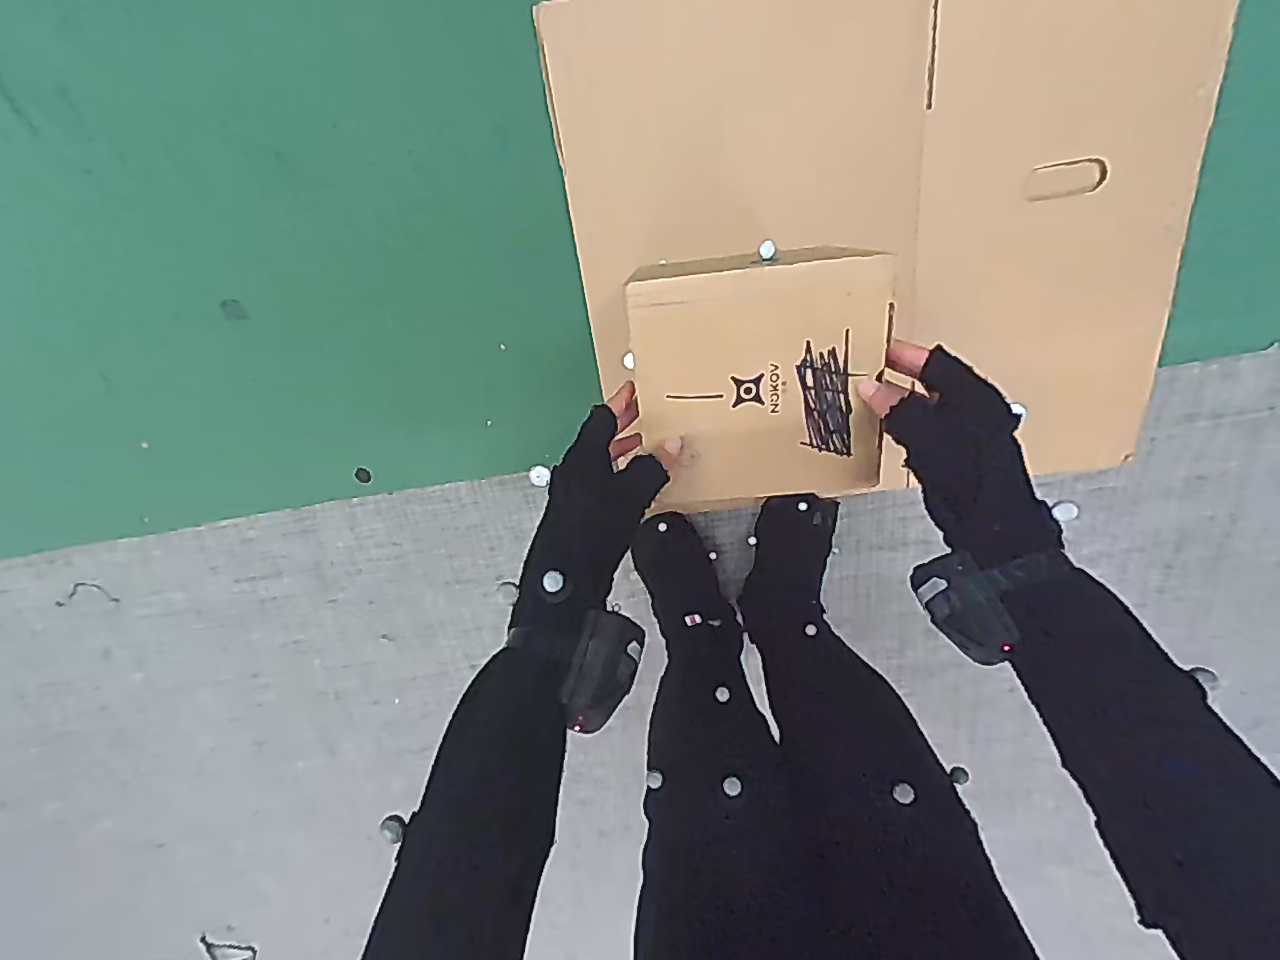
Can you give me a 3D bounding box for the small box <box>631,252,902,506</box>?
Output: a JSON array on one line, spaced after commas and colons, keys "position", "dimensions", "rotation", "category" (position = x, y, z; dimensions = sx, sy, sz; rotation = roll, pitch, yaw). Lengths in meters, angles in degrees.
[{"position": [0.091, -0.092, 0.451], "dimensions": [0.179, 0.176, 0.168], "rotation": [-4, 114, 6], "category": "small box"}]
